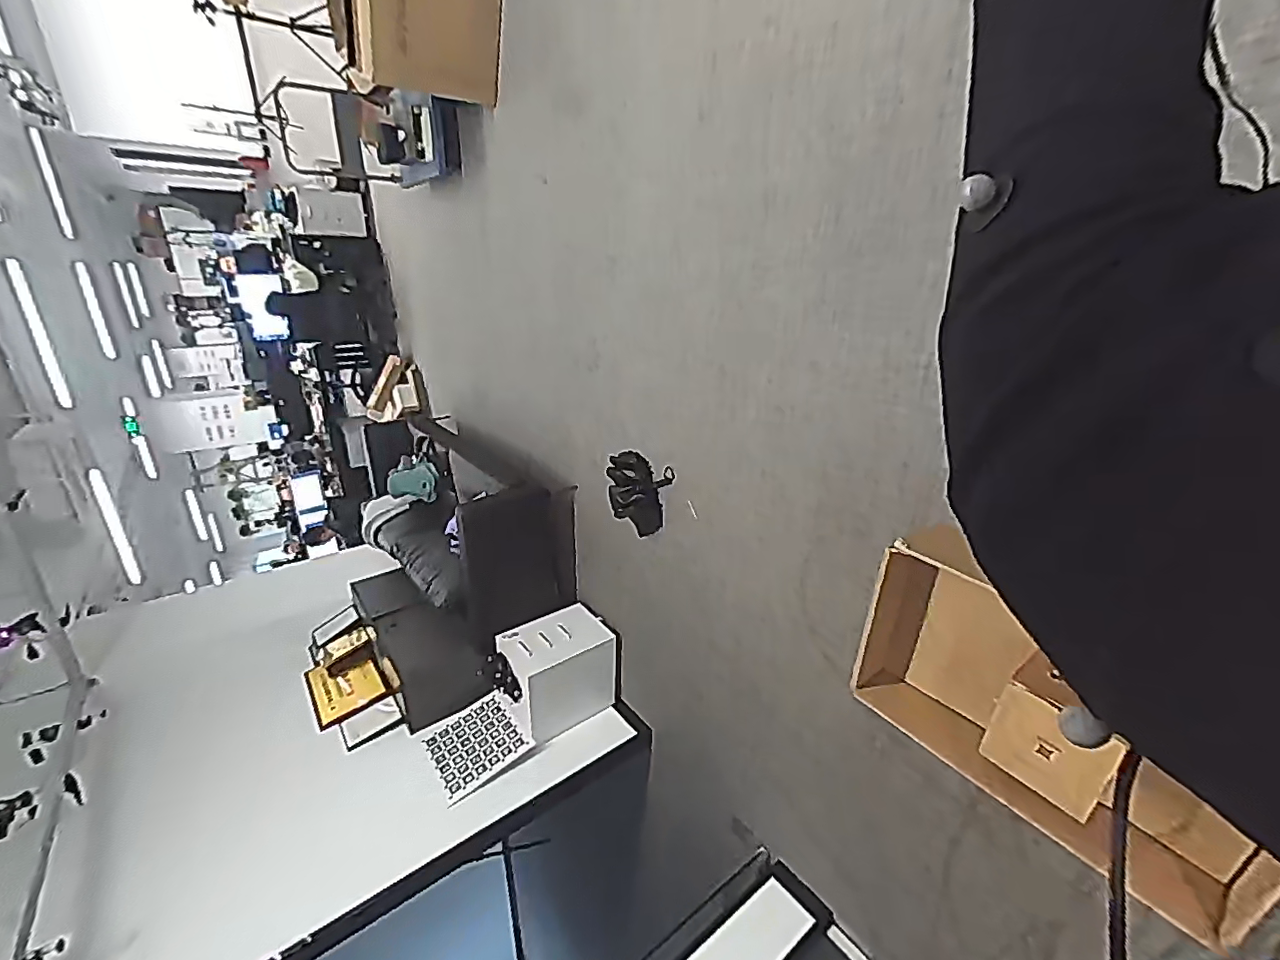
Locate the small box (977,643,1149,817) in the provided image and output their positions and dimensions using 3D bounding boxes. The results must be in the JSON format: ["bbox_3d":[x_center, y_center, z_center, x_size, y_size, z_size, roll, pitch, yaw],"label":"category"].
[{"bbox_3d":[0.723,0.414,0.927,0.168,0.176,0.179,31,129,48],"label":"small box"}]
